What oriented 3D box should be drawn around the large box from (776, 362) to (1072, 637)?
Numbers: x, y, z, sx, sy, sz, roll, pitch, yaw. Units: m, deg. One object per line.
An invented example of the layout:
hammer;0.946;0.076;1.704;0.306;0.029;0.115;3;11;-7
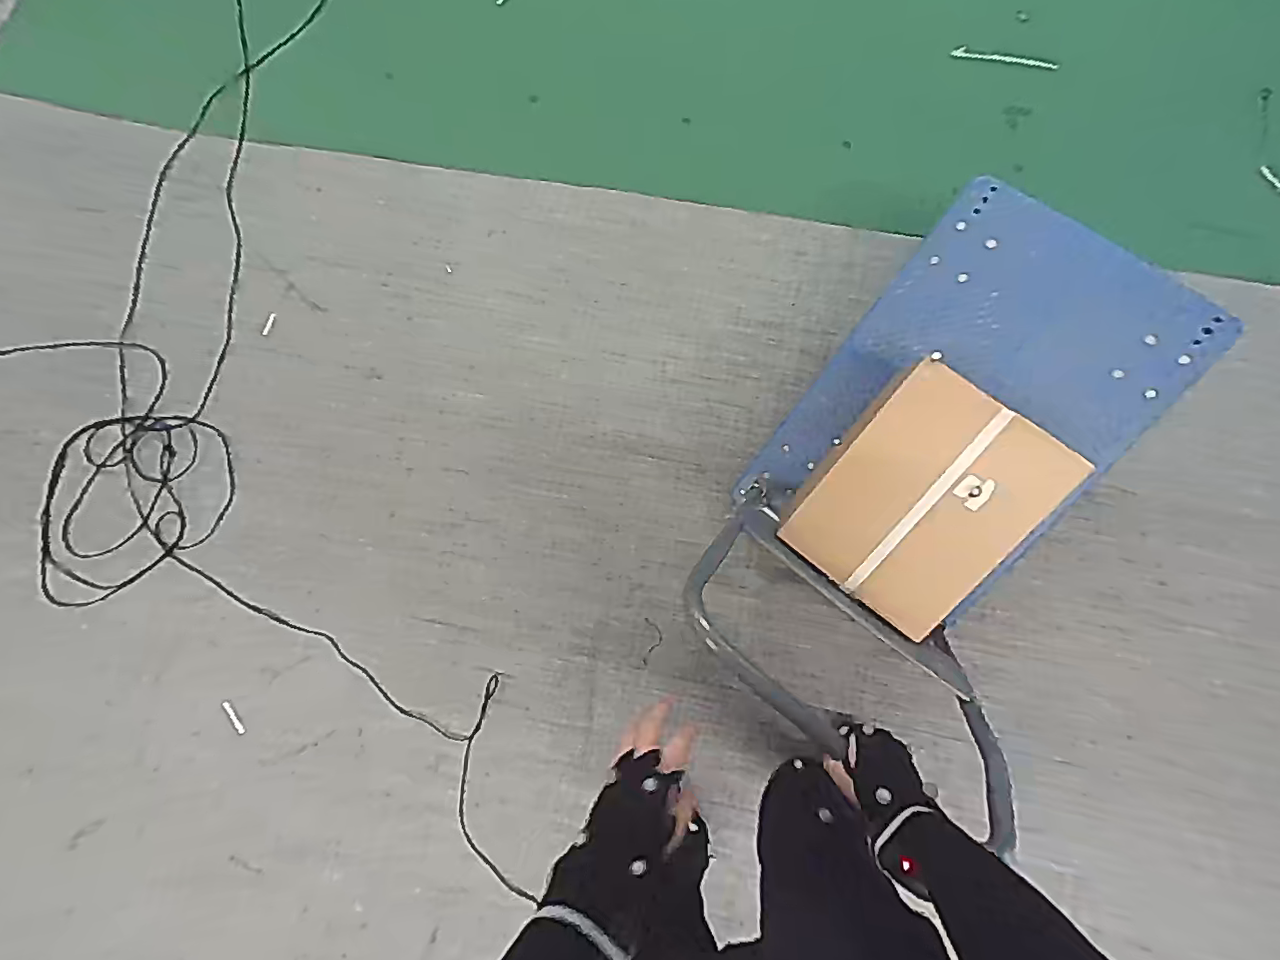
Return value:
large box;0.528;0.031;1.102;0.320;0.320;0.408;39;104;10
